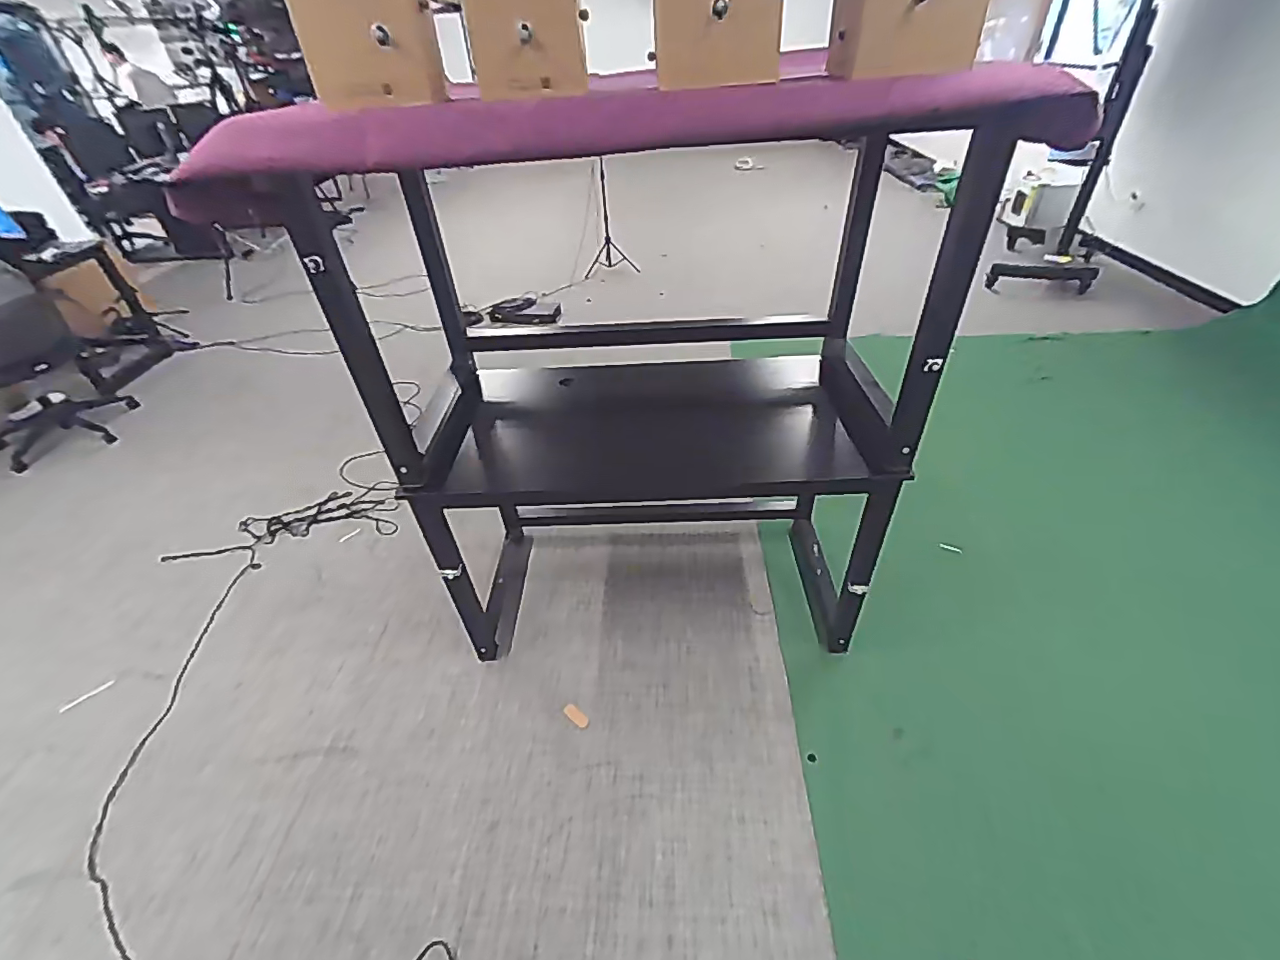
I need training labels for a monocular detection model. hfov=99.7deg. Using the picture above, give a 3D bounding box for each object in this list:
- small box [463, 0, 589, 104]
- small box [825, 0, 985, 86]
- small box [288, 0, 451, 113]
[{"bbox_3d":[-0.171,-0.700,0.849,0.168,0.176,0.179,-4,39,-1],"label":"small box"},{"bbox_3d":[0.390,-0.701,0.801,0.179,0.176,0.168,-3,39,4],"label":"small box"},{"bbox_3d":[-0.411,-0.684,0.850,0.168,0.176,0.179,-4,38,-2],"label":"small box"}]
